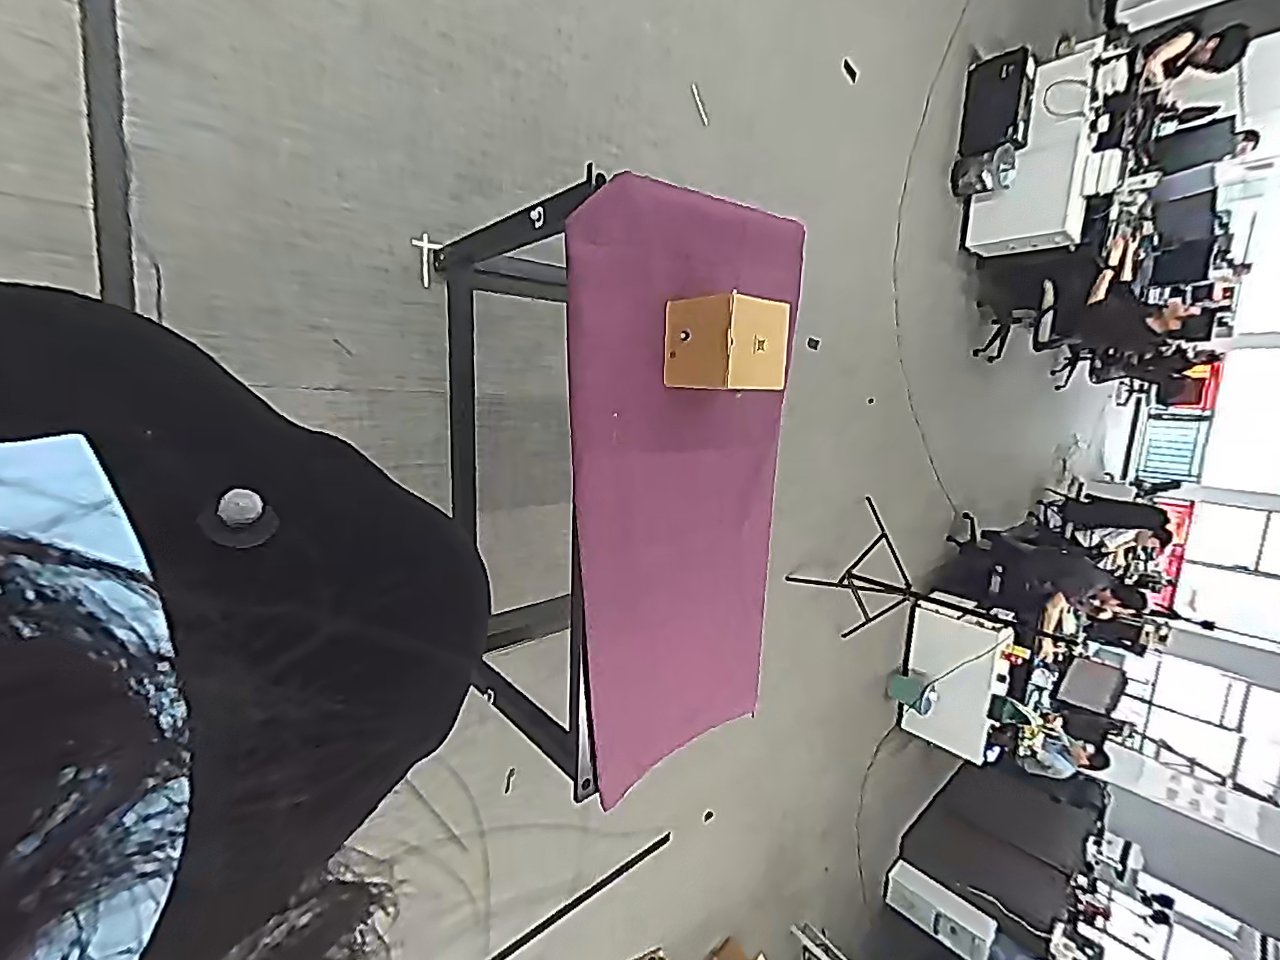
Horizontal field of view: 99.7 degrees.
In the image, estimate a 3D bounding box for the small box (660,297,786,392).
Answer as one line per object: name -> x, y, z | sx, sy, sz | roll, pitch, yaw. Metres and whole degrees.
small box -> 0.161, -0.262, 1.069 | 0.179, 0.176, 0.168 | -7, 105, -40
